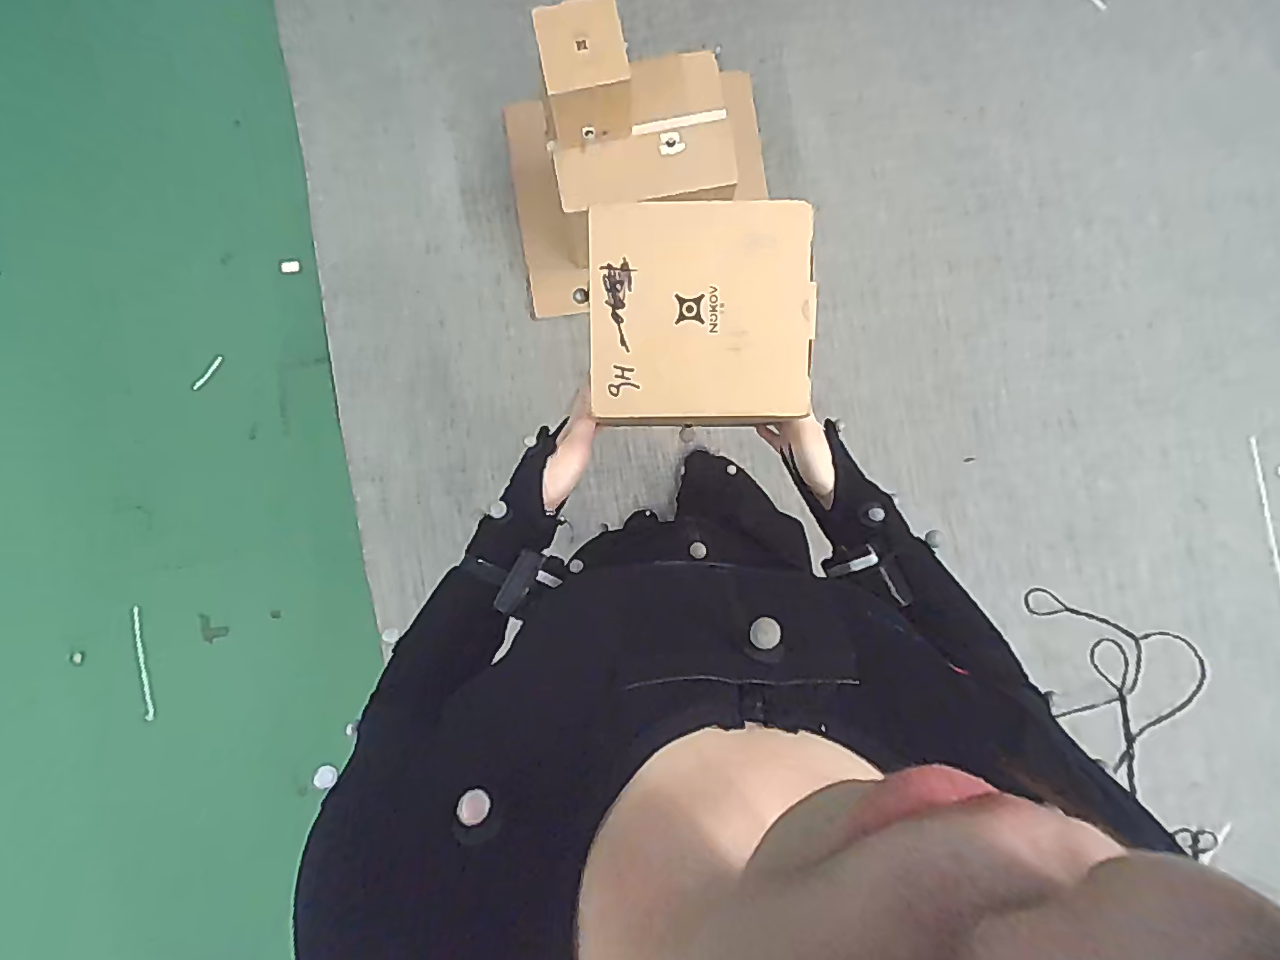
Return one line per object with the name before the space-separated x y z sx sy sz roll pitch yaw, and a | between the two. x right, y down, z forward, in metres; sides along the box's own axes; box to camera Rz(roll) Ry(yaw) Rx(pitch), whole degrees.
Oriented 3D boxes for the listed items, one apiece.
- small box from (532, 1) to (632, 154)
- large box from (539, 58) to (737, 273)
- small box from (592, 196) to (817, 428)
small box | -0.114 -0.820 1.115 0.168 0.176 0.179 -12 88 0
large box | -0.009 -0.762 1.359 0.408 0.320 0.320 -11 89 -2
small box | 0.048 -0.137 0.499 0.179 0.176 0.168 0 92 -1
